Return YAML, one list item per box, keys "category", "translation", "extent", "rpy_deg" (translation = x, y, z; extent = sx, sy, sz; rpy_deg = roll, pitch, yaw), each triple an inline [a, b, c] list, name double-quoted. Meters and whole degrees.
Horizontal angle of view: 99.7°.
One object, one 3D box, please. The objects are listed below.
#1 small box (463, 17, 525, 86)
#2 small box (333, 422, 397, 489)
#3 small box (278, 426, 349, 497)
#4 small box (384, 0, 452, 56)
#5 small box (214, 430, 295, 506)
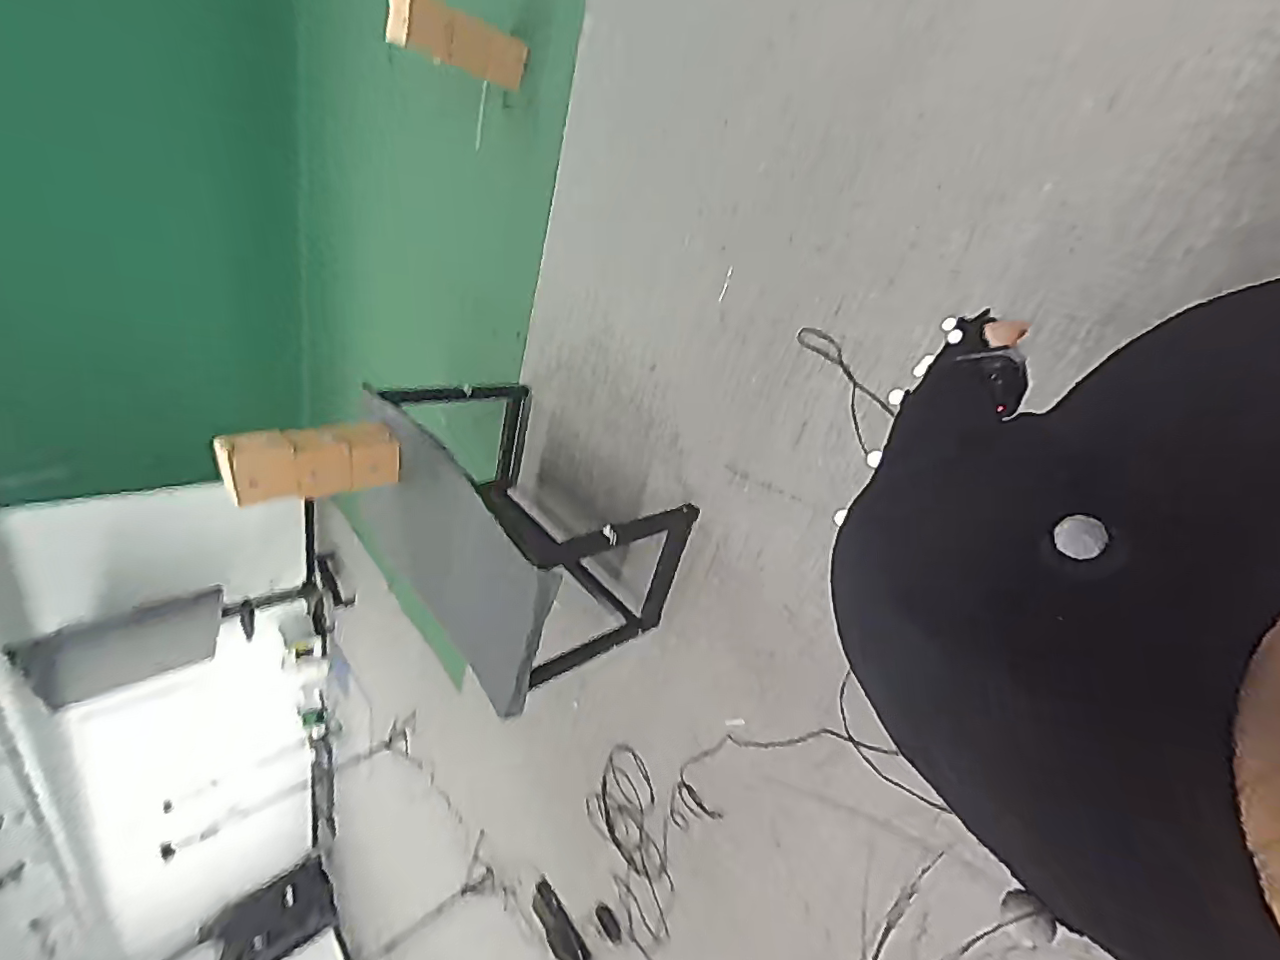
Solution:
- category: "small box"
  translation: [-0.602, -1.770, 2.239]
  extent: [0.179, 0.176, 0.168]
  rpy_deg: [44, 126, 29]
- category: "small box"
  translation: [-0.990, -0.096, 1.946]
  extent: [0.168, 0.176, 0.179]
  rpy_deg: [36, 125, 33]
- category: "small box"
  translation: [-1.101, -0.068, 1.830]
  extent: [0.168, 0.176, 0.179]
  rpy_deg: [31, 120, 34]
- category: "small box"
  translation: [-0.823, -1.710, 2.003]
  extent: [0.179, 0.176, 0.168]
  rpy_deg: [40, 123, 32]
- category: "small box"
  translation: [-1.214, -0.045, 1.712]
  extent: [0.168, 0.176, 0.179]
  rpy_deg: [28, 120, 35]
